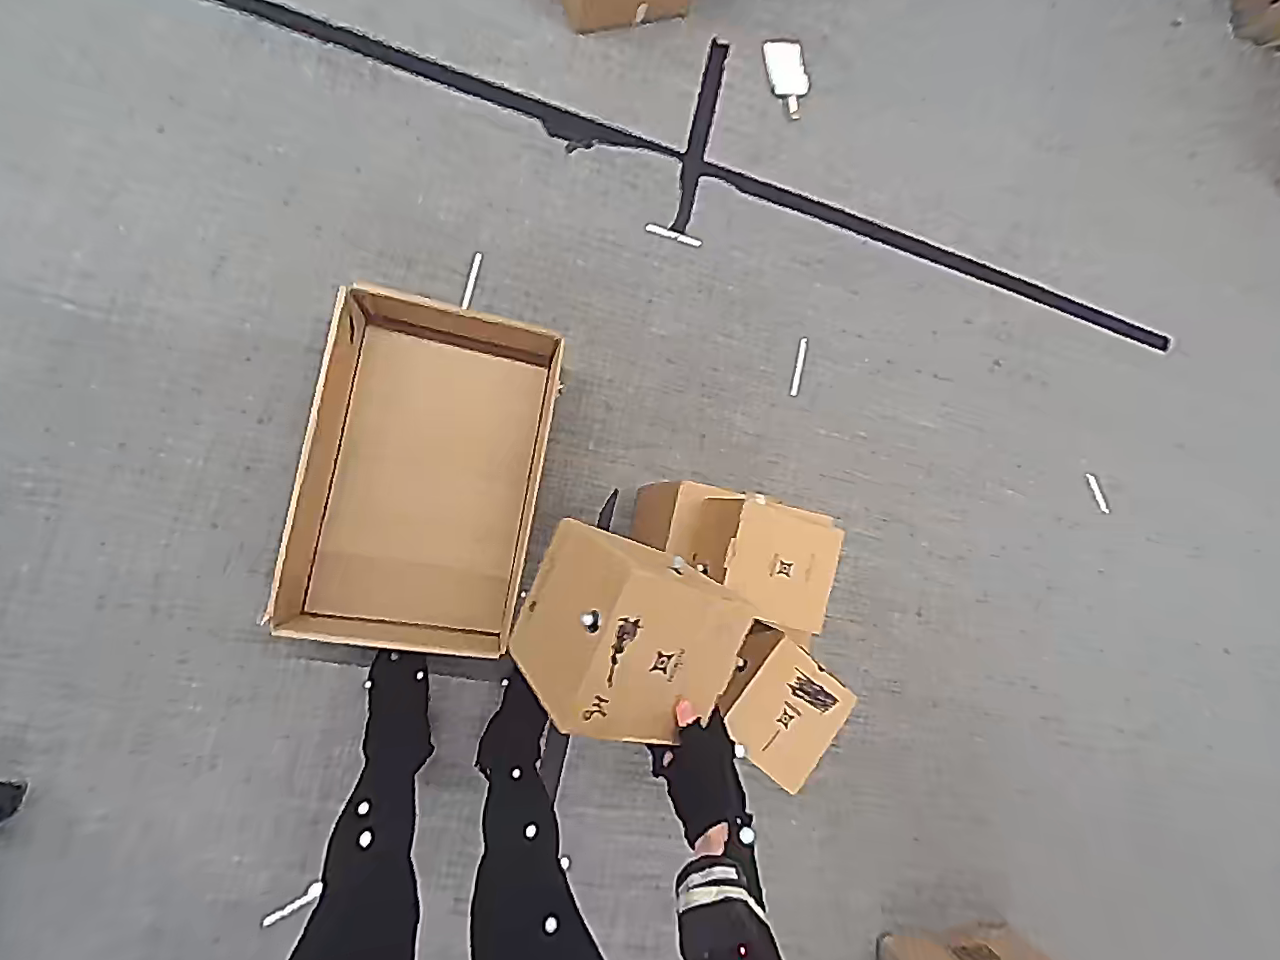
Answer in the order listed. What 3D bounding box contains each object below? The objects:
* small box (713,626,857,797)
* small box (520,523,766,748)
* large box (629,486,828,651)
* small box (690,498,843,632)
[{"bbox_3d":[0.198,0.347,0.865,0.168,0.176,0.179,42,79,-8],"label":"small box"},{"bbox_3d":[-0.003,0.162,0.594,0.179,0.176,0.168,25,89,-32],"label":"small box"},{"bbox_3d":[0.138,0.237,1.110,0.320,0.320,0.408,13,85,-12],"label":"large box"},{"bbox_3d":[0.191,0.131,0.878,0.179,0.176,0.168,16,85,-13],"label":"small box"}]
